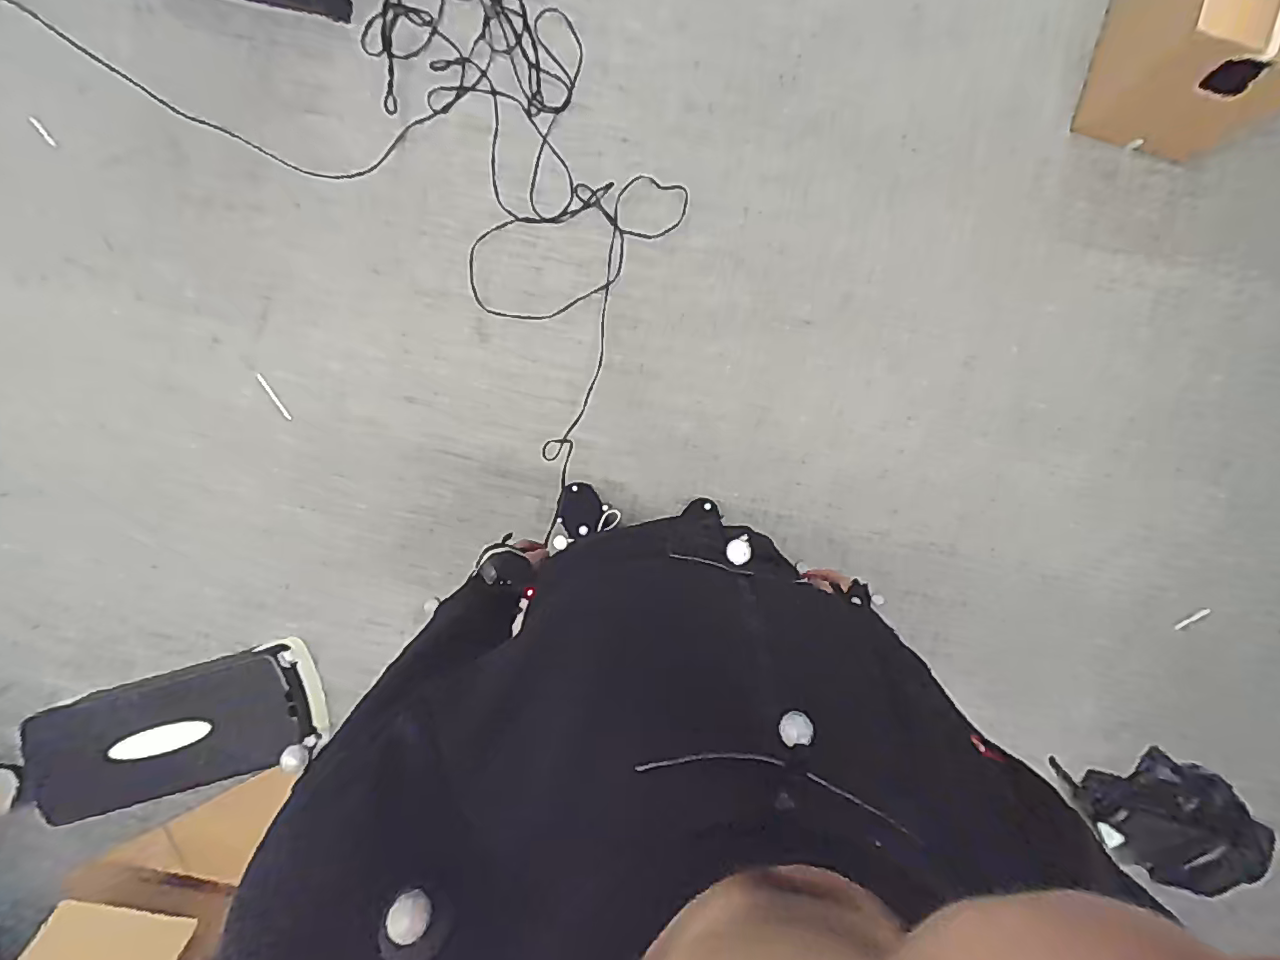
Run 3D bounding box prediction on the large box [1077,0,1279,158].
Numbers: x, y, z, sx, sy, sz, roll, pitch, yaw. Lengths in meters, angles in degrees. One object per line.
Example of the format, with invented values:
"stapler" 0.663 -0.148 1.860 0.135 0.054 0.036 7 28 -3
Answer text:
"large box" 1.290 -1.035 1.209 0.320 0.320 0.408 16 92 1
